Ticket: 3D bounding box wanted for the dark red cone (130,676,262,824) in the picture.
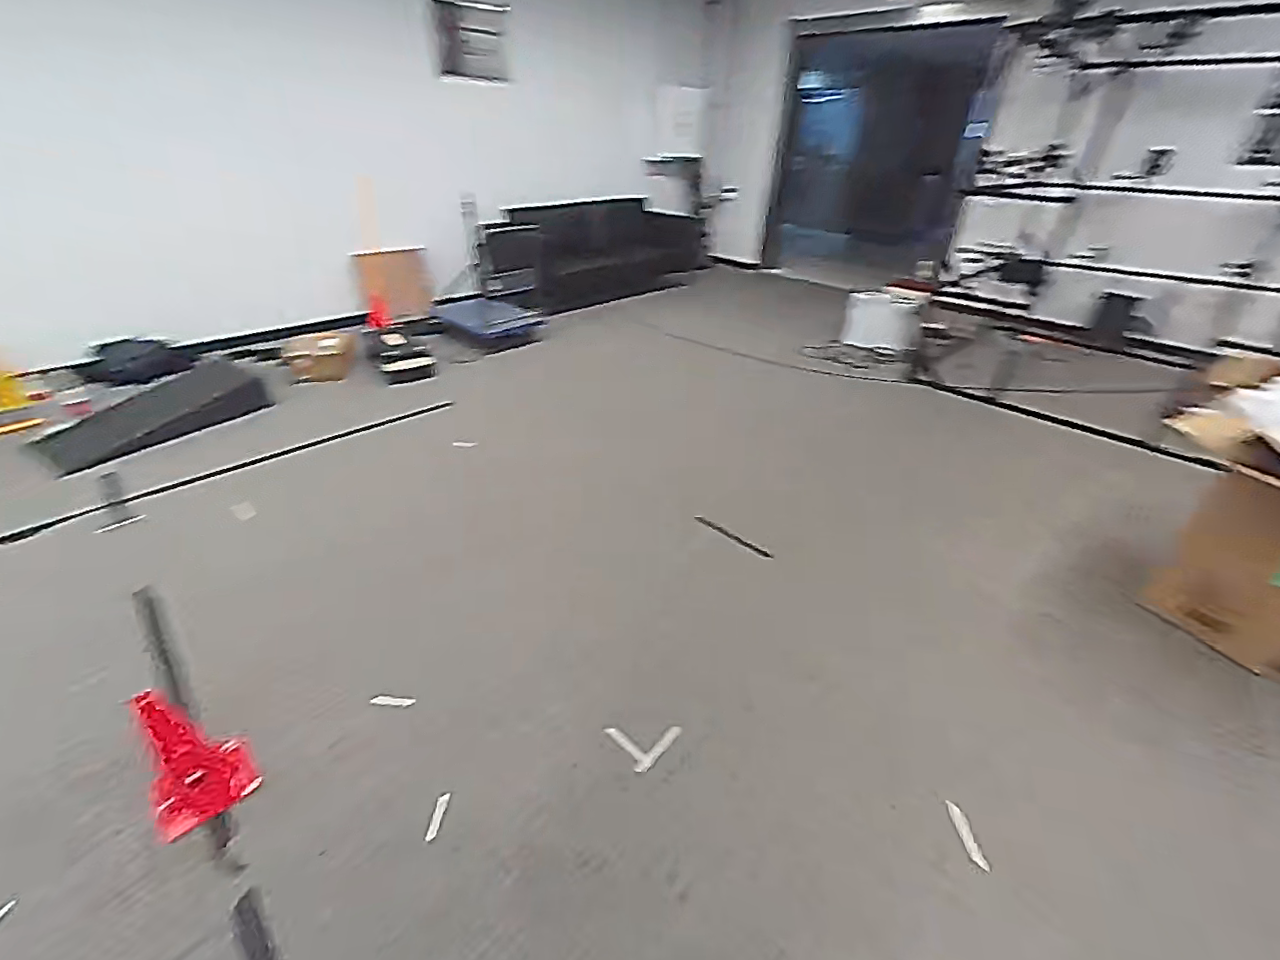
[{"bbox_3d":[-1.089,0.599,1.280,0.202,0.394,0.201,30,43,35],"label":"dark red cone"}]
